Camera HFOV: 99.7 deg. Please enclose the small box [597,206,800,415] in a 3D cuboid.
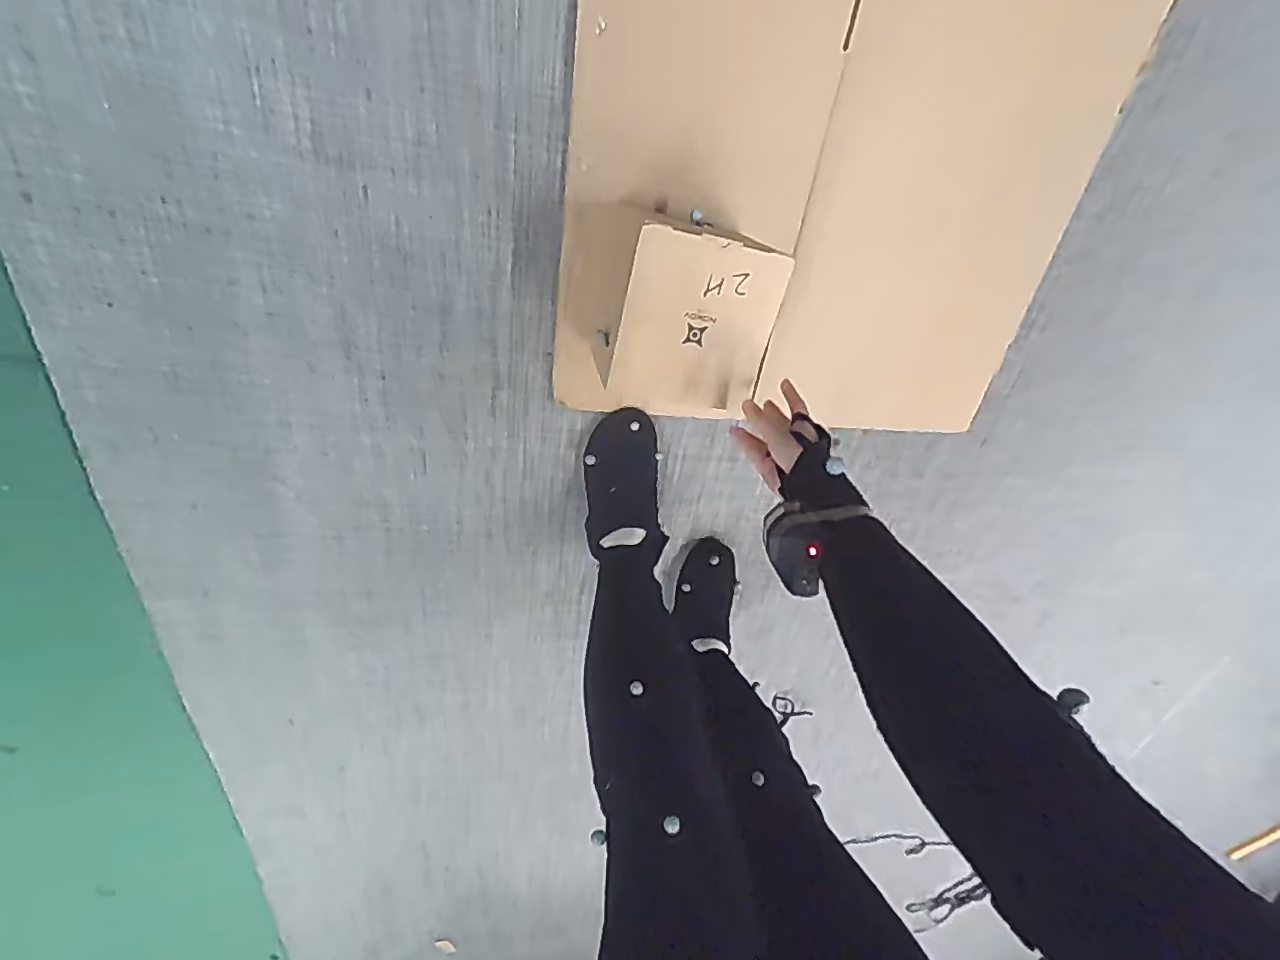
[{"bbox_3d":[0.050,-0.199,0.628,0.168,0.176,0.179,7,119,-17],"label":"small box"}]
